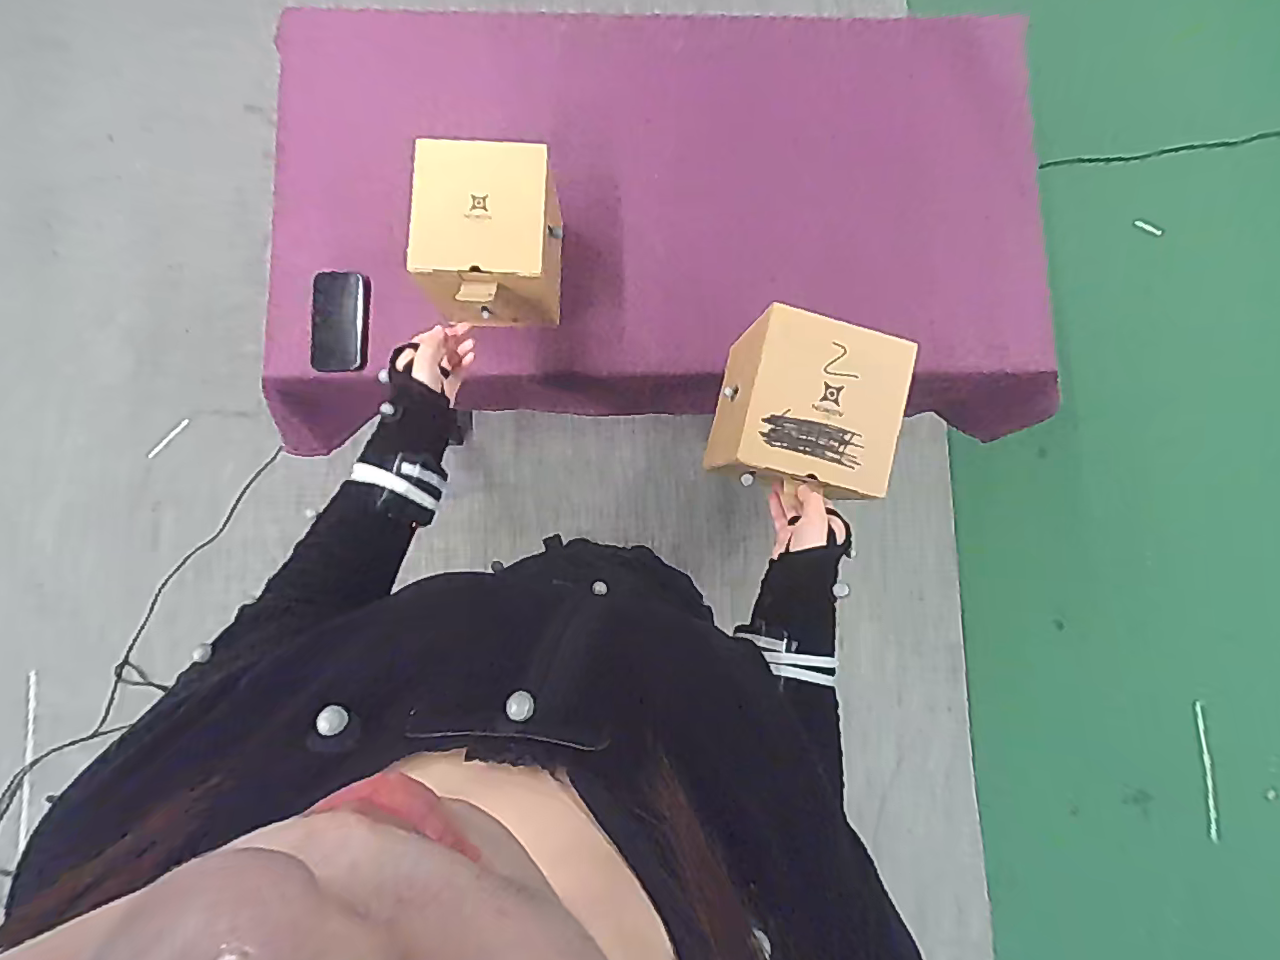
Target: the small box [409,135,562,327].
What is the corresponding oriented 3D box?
[{"bbox_3d":[-0.200,-0.331,0.746,0.168,0.176,0.179,3,84,-3],"label":"small box"}]
